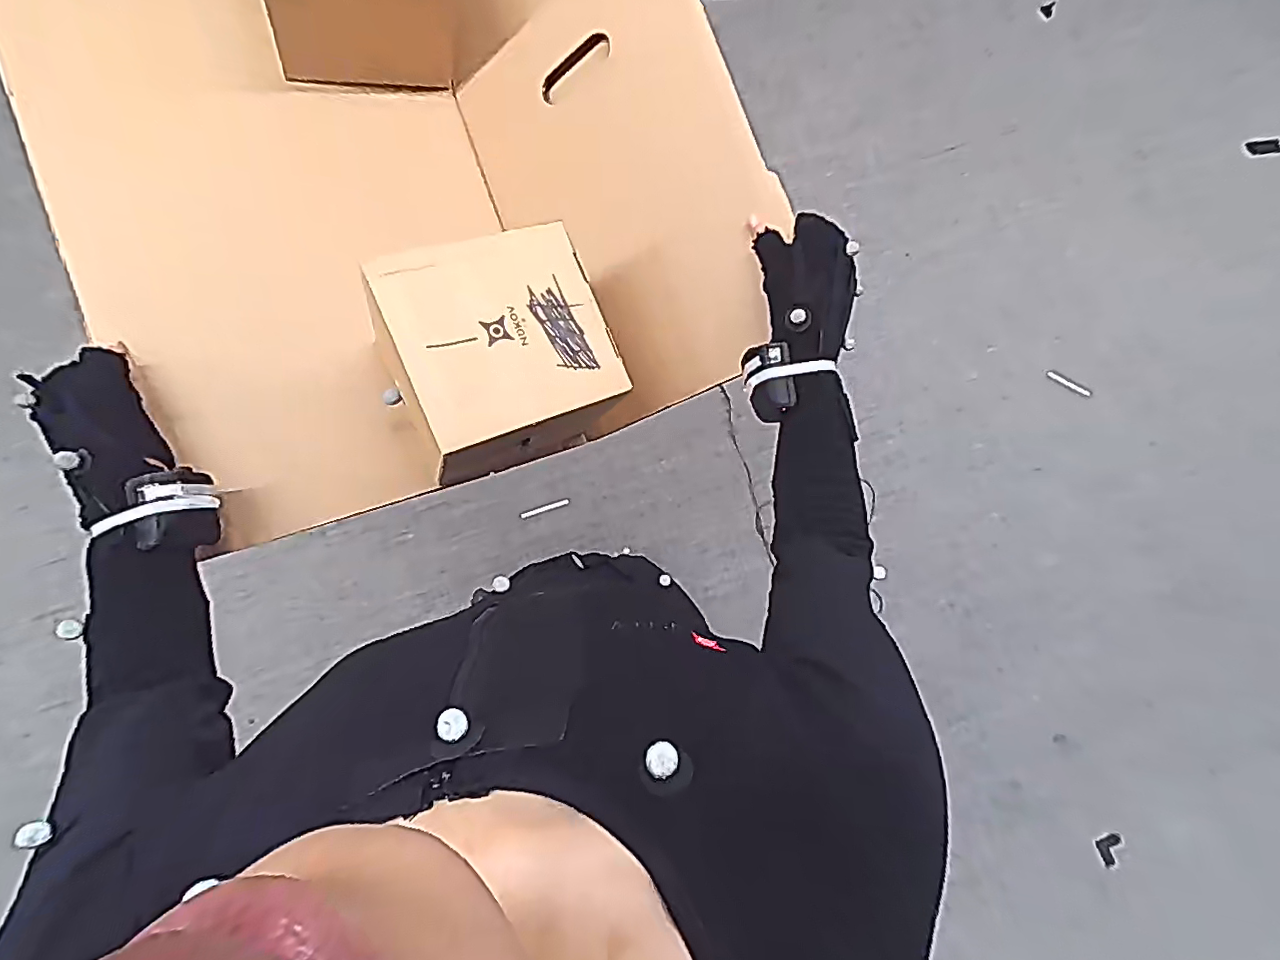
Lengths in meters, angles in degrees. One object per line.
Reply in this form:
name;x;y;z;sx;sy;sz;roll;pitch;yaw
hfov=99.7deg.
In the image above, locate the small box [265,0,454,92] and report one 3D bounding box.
small box;-0.290;-0.530;0.541;0.179;0.176;0.168;-14;86;-24
